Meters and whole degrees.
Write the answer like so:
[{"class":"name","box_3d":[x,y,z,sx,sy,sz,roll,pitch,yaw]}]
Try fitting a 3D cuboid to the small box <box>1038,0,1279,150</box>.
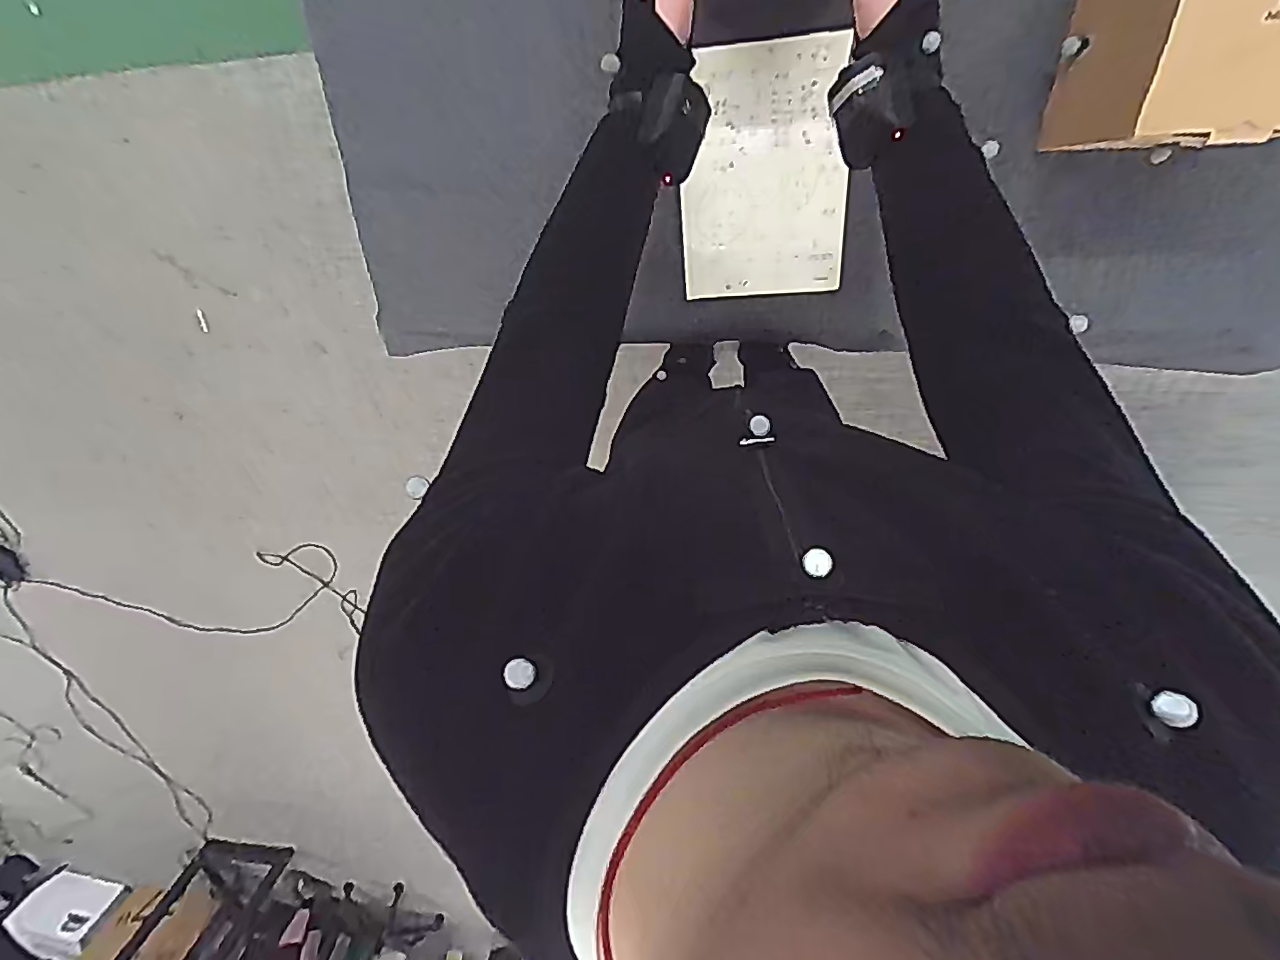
[{"class":"small box","box_3d":[0.501,-0.400,0.484,0.168,0.176,0.179,2,120,7]}]
